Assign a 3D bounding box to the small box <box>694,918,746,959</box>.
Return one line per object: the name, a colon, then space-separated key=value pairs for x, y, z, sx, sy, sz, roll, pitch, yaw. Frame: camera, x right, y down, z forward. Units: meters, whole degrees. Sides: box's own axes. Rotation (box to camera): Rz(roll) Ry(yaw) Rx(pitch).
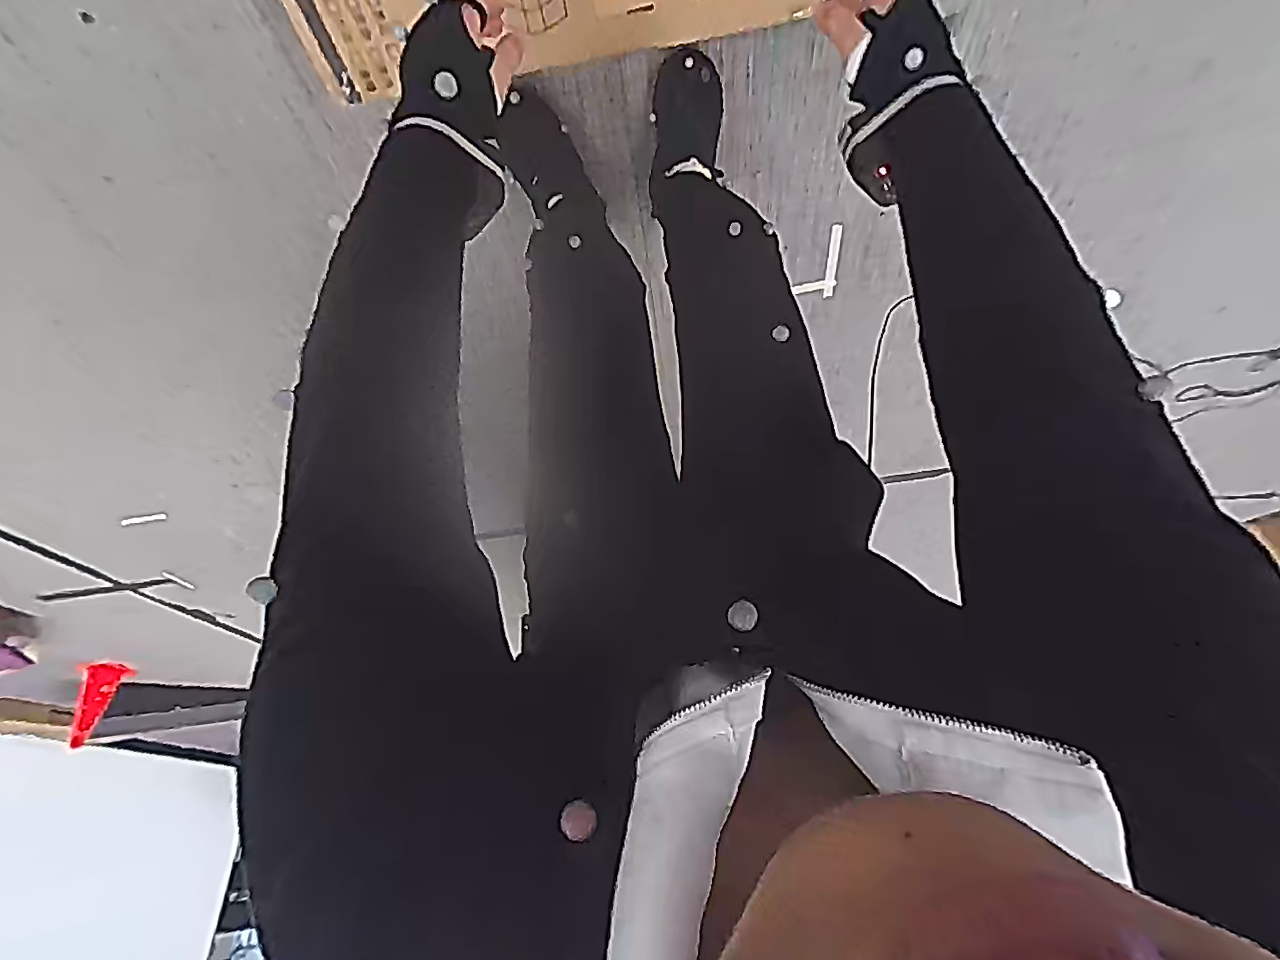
small box: x=0.289 y=1.675 z=1.922 sx=0.168 sy=0.176 sz=0.179 roll=-10 pitch=144 yaw=7
